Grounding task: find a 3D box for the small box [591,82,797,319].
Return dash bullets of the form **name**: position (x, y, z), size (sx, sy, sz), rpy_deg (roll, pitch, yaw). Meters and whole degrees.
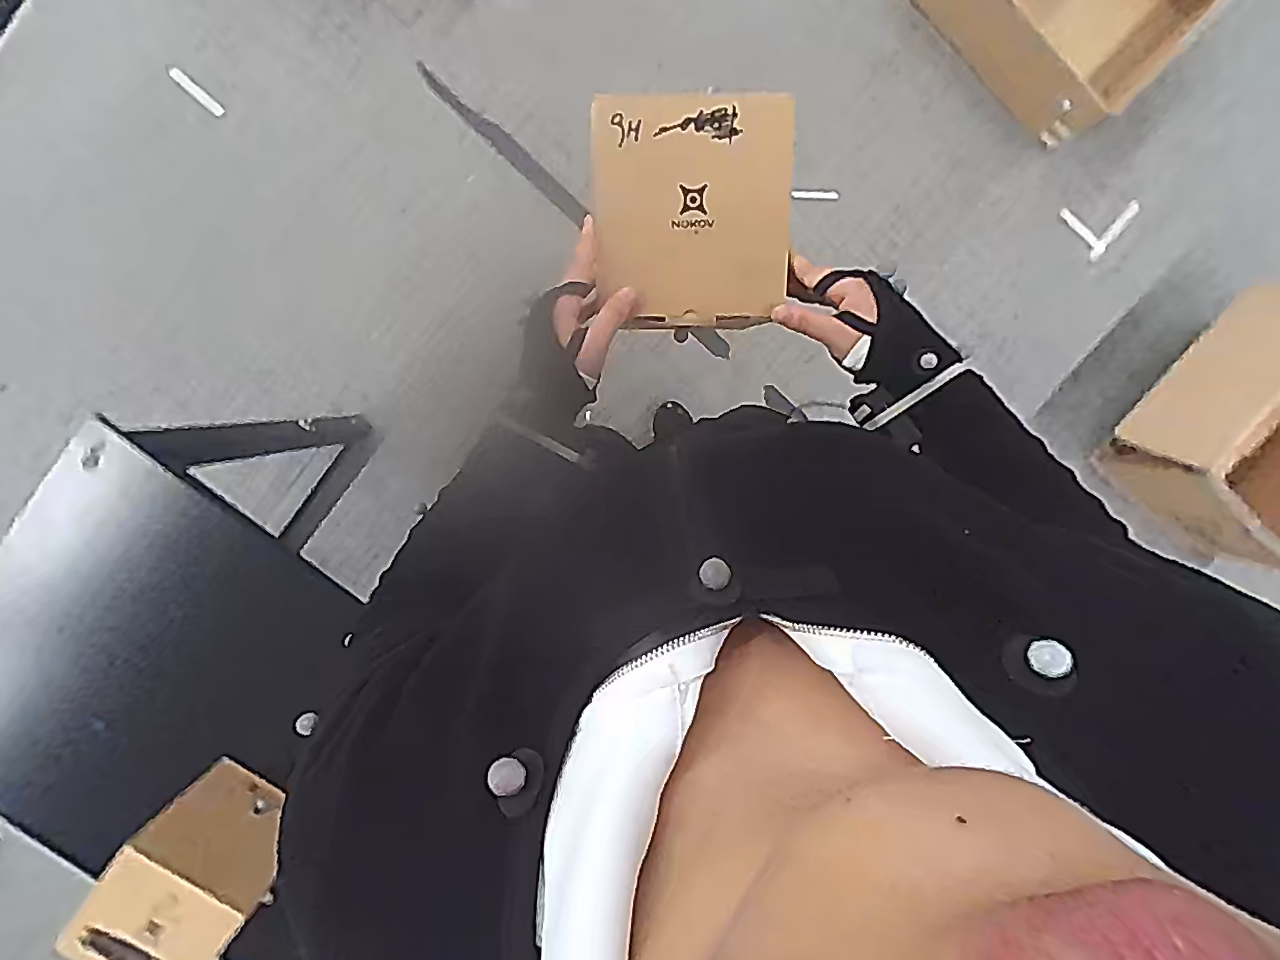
- **small box**: position (0.043, -0.250, 0.524), size (0.168, 0.176, 0.179), rpy_deg (0, 104, 0)
